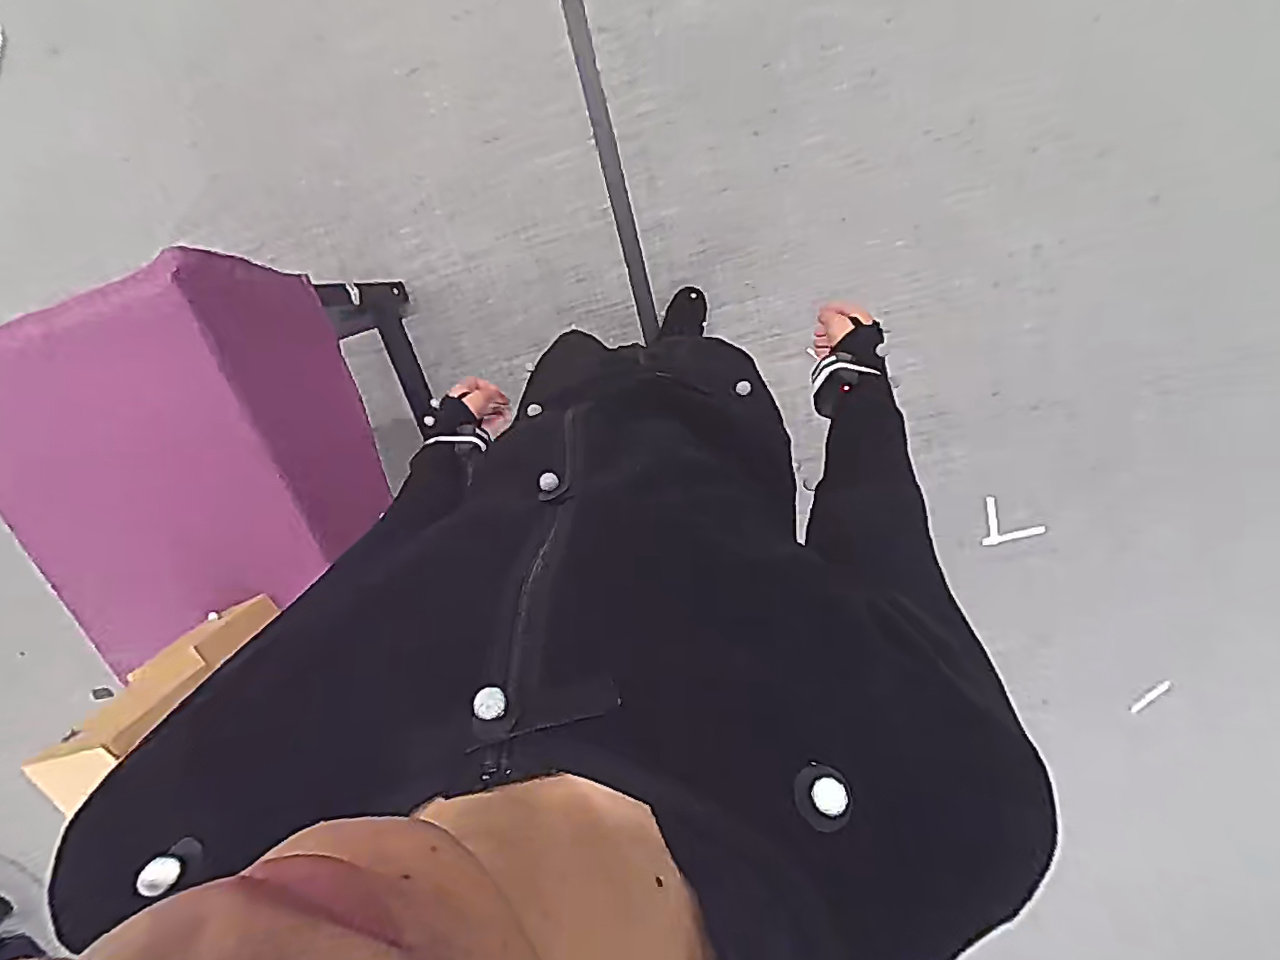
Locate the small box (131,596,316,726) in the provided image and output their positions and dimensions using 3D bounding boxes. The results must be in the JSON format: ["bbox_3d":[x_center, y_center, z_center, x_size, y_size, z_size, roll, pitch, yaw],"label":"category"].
[{"bbox_3d":[-0.756,0.349,1.004,0.168,0.176,0.179,-23,106,14],"label":"small box"}]

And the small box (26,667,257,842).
[{"bbox_3d":[-0.772,0.429,0.859,0.179,0.176,0.168,-18,109,12],"label":"small box"}]
